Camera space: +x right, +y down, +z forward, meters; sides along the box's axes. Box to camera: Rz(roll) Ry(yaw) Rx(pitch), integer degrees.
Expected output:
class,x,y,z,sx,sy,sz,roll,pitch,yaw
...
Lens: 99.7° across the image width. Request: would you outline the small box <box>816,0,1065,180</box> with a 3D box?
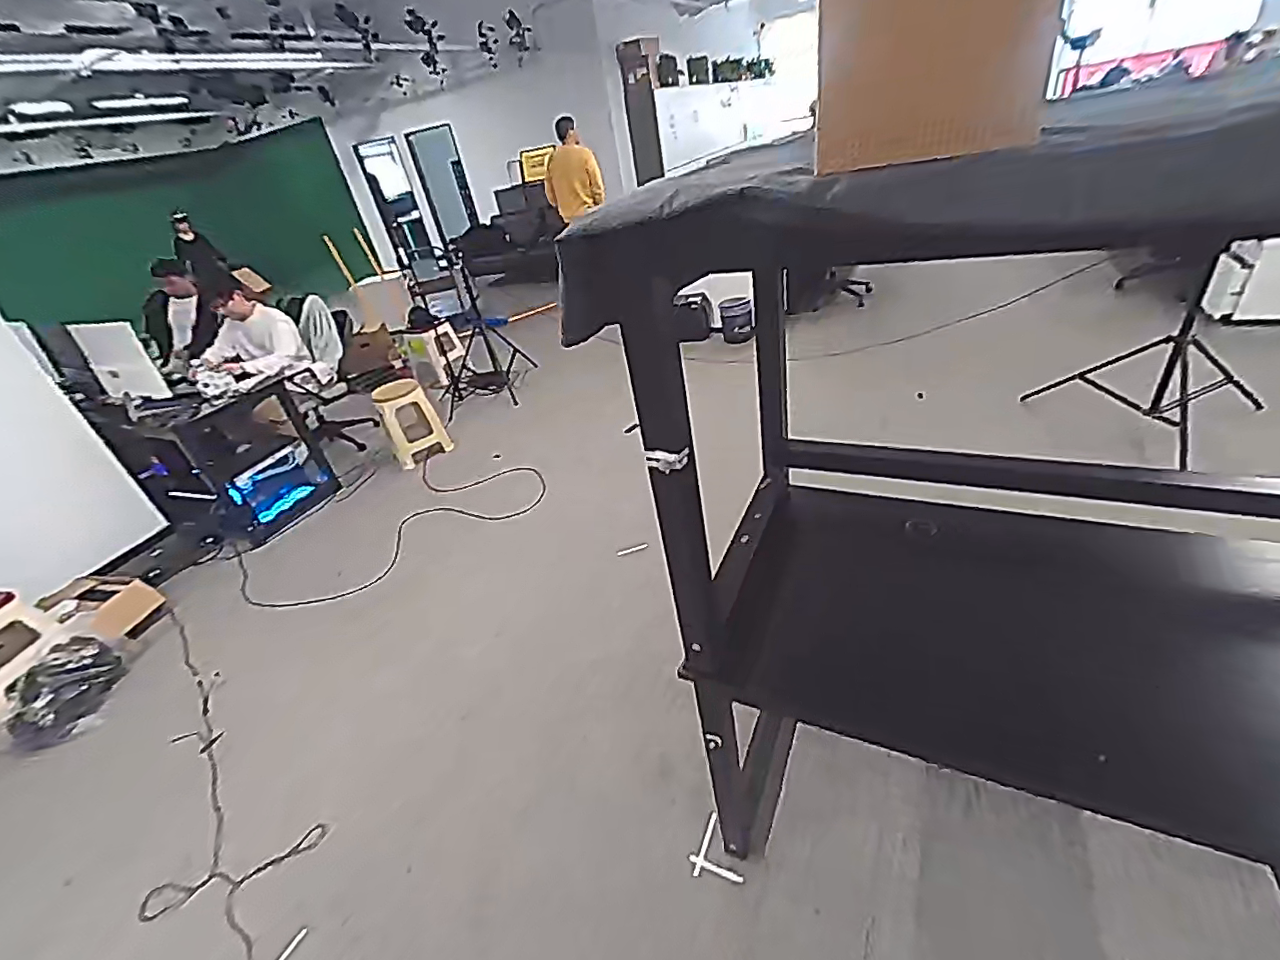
class,x,y,z,sx,sy,sz,roll,pitch,yaw
small box,0.260,-0.384,0.486,0.179,0.176,0.168,5,34,23
